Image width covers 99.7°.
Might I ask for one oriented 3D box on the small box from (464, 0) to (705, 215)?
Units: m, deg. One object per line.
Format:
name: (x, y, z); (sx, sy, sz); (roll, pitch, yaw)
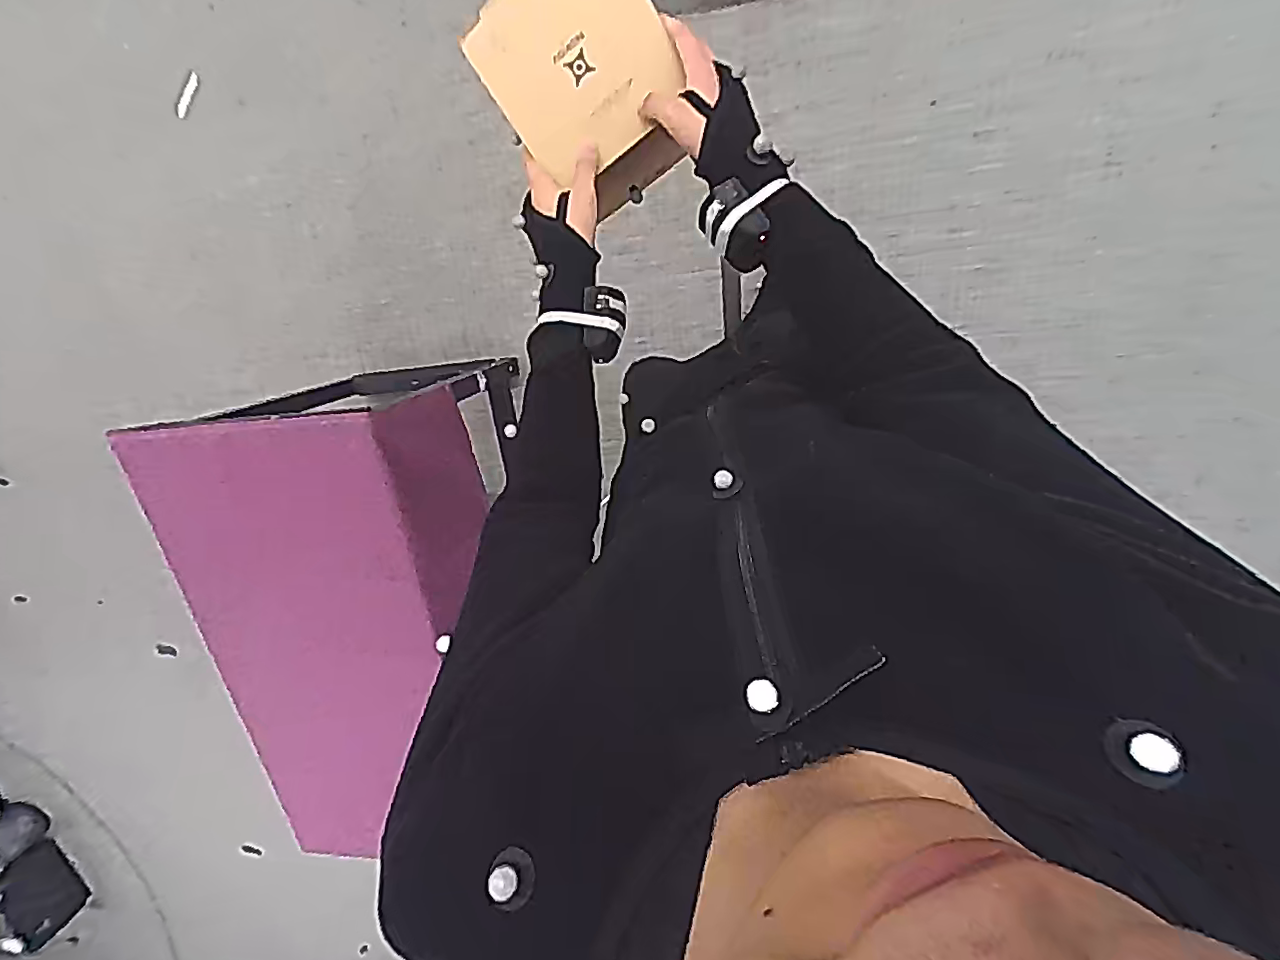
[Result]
small box: (-0.045, -0.418, 0.577); (0.168, 0.176, 0.179); (-31, 101, 15)
